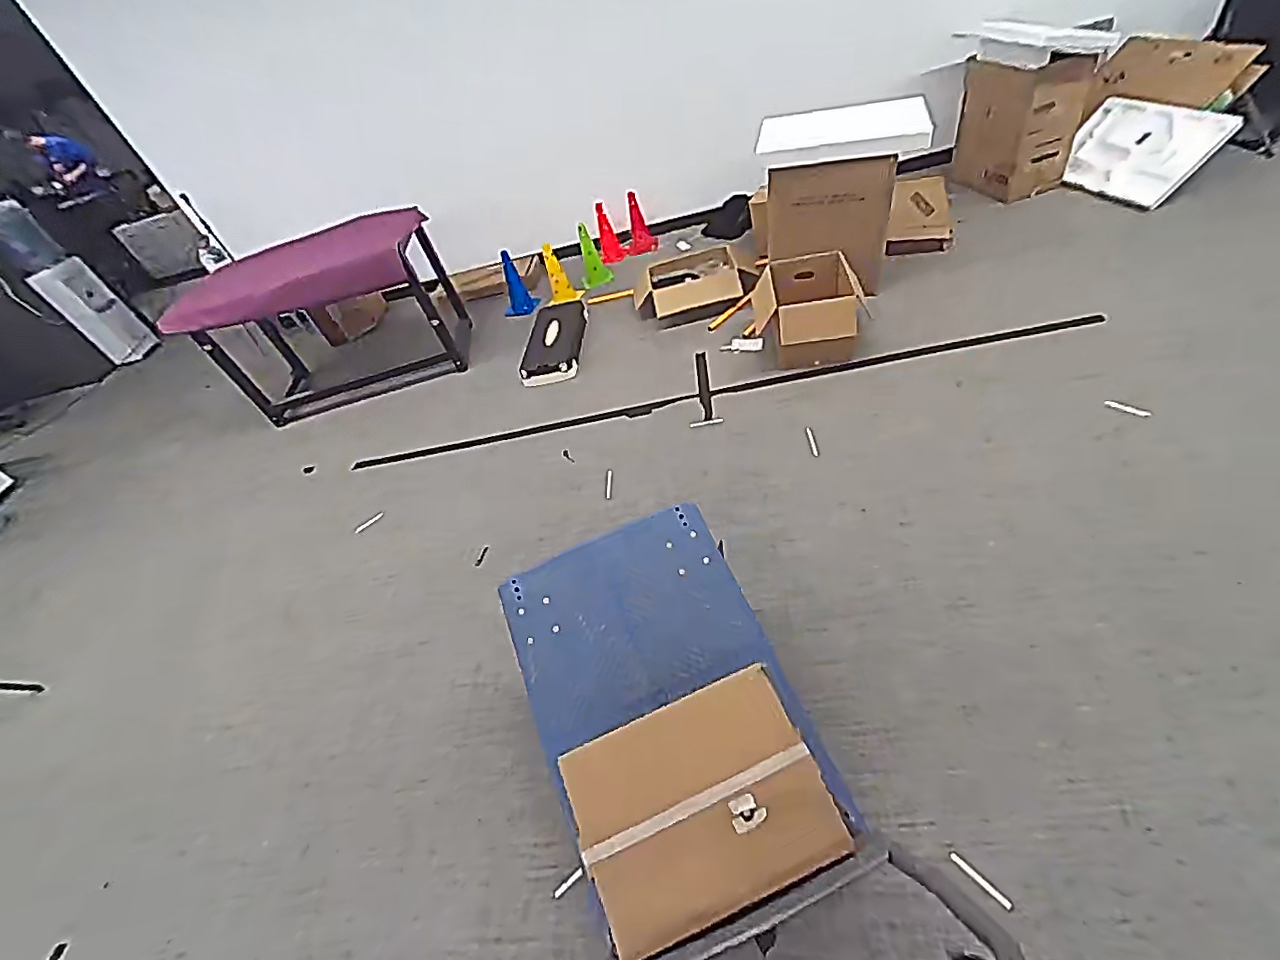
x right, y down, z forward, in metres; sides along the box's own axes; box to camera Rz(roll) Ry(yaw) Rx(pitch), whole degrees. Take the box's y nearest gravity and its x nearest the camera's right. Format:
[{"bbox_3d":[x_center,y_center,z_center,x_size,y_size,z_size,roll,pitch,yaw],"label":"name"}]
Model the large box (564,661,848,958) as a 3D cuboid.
[{"bbox_3d":[0.114,0.610,1.053,0.408,0.320,0.320,-23,63,-7],"label":"large box"}]
